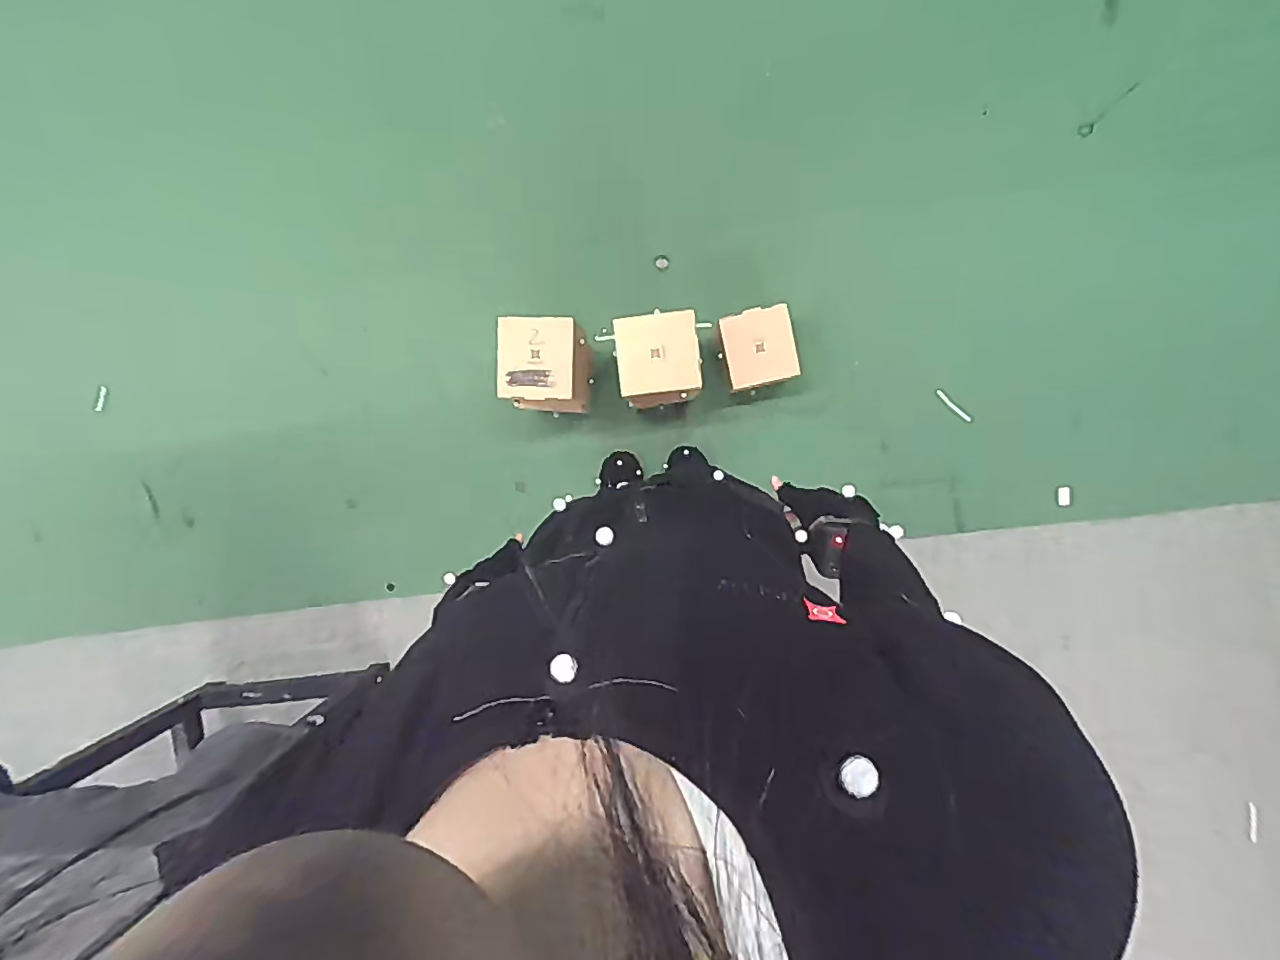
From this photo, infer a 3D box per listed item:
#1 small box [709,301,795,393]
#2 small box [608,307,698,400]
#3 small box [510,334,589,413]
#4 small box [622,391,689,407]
[{"bbox_3d":[0.275,-0.327,1.359,0.168,0.176,0.179,-12,94,3],"label":"small box"},{"bbox_3d":[0.031,-0.275,1.209,0.179,0.176,0.168,-7,94,3],"label":"small box"},{"bbox_3d":[-0.226,-0.268,1.385,0.168,0.176,0.179,4,96,3],"label":"small box"},{"bbox_3d":[0.032,-0.282,1.372,0.168,0.176,0.179,-9,94,3],"label":"small box"}]
